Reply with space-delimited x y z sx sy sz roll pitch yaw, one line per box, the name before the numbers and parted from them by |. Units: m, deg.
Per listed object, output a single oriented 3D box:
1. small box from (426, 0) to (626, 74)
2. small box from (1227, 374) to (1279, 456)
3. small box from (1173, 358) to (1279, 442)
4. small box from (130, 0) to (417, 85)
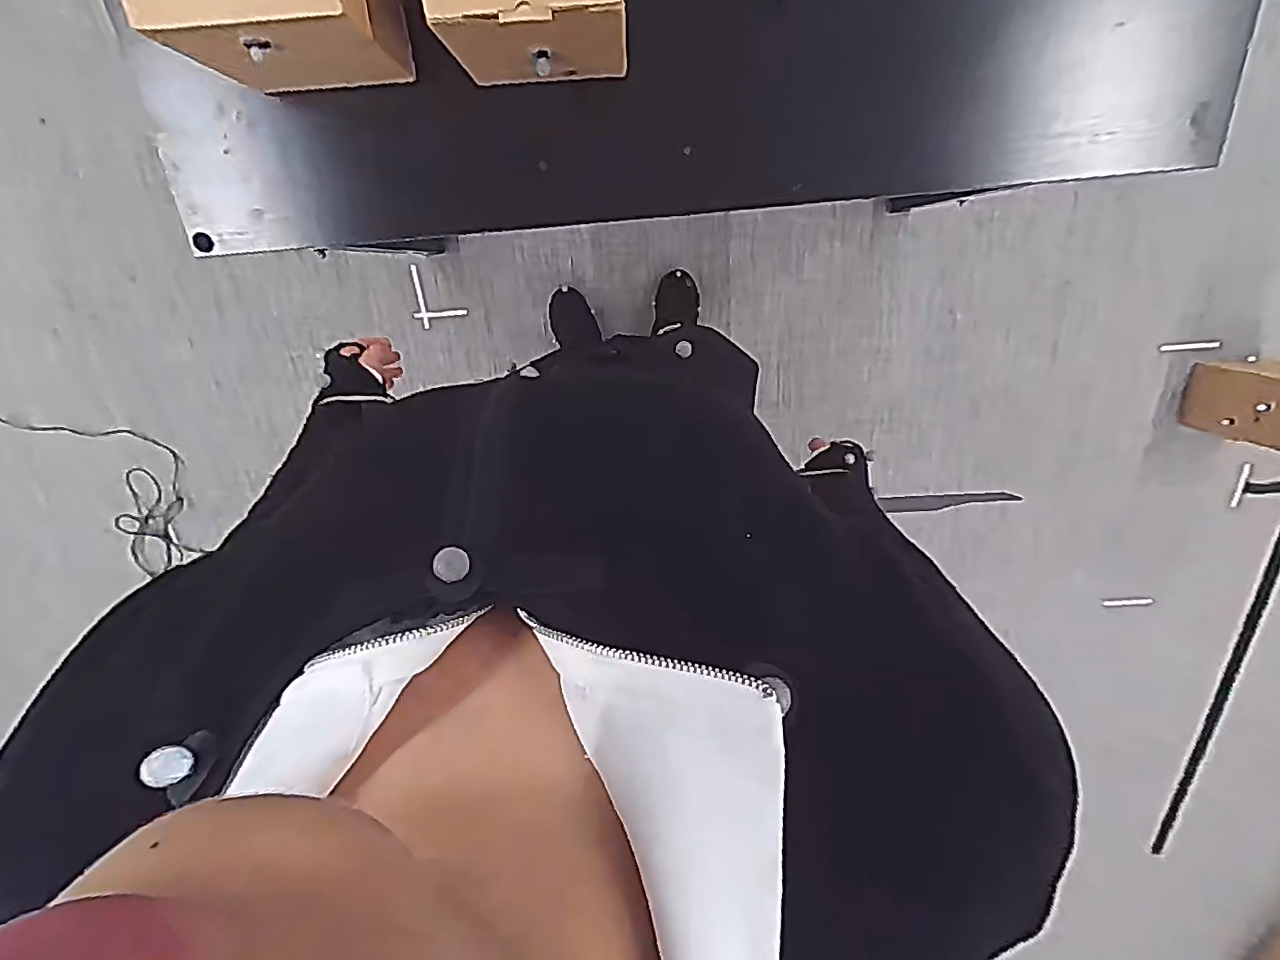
small box | -0.098 -0.491 0.487 0.168 0.176 0.179 -3 112 -1
small box | 1.550 -0.153 1.251 0.179 0.176 0.168 -4 110 2
small box | 1.554 -0.211 1.403 0.168 0.176 0.179 -6 111 1
small box | -0.331 -0.481 0.487 0.179 0.176 0.168 -4 112 0
